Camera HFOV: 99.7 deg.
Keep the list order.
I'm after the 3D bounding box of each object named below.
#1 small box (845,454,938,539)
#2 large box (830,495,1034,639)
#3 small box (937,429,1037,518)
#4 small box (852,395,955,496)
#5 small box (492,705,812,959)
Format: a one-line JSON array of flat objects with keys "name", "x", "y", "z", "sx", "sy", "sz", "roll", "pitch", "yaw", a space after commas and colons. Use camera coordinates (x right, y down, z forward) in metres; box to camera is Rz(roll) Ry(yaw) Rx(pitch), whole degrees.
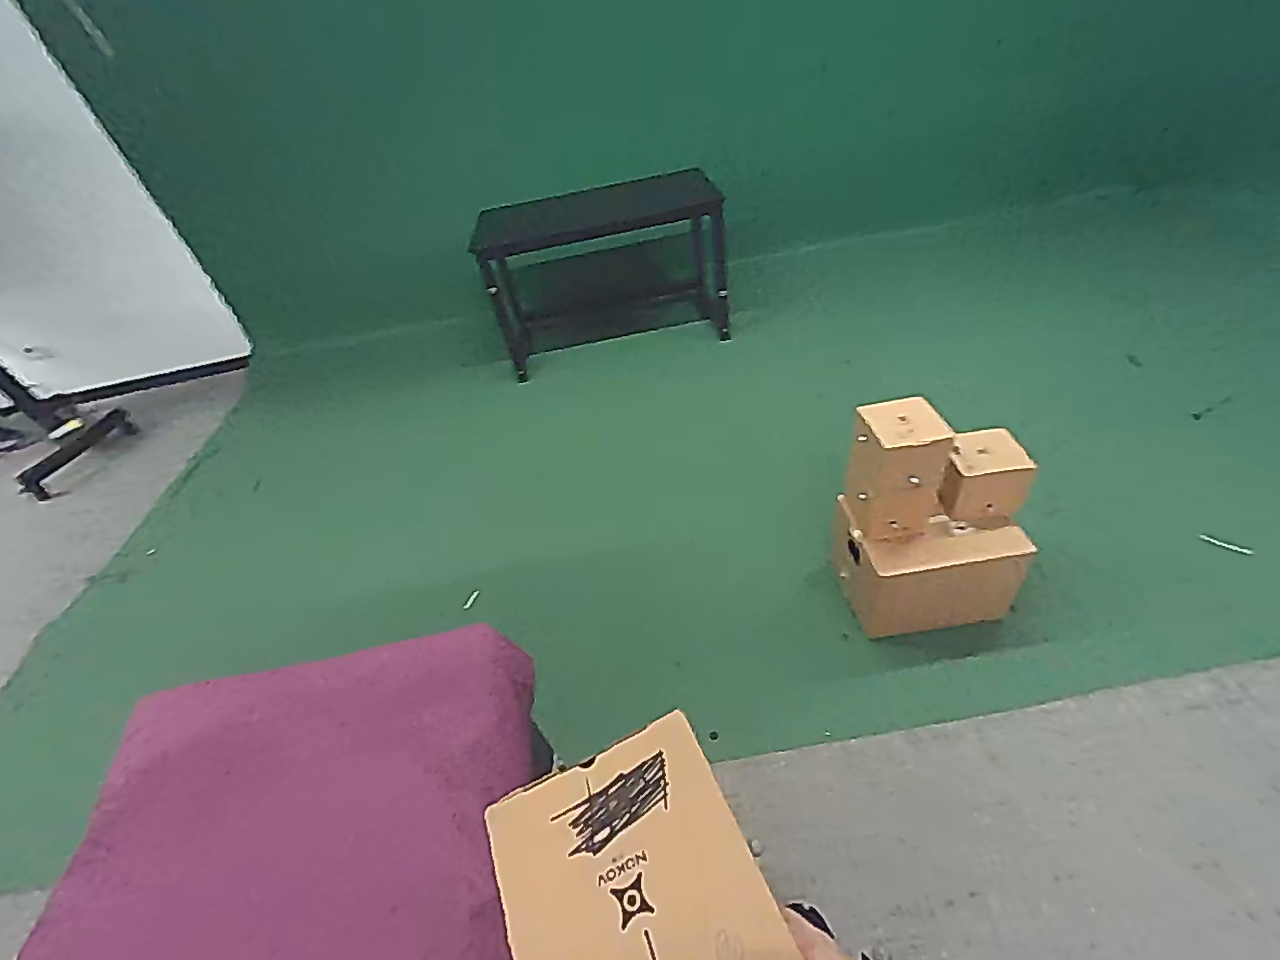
[{"name": "small box", "x": 0.672, "y": 0.034, "z": 1.470, "sx": 0.168, "sy": 0.176, "sz": 0.179, "roll": -10, "pitch": 42, "yaw": 2}, {"name": "large box", "x": 0.818, "y": 0.226, "z": 1.588, "sx": 0.408, "sy": 0.320, "sz": 0.320, "roll": -10, "pitch": 42, "yaw": 2}, {"name": "small box", "x": 0.915, "y": -0.015, "z": 1.462, "sx": 0.179, "sy": 0.176, "sz": 0.168, "roll": -7, "pitch": 41, "yaw": 7}, {"name": "small box", "x": 0.649, "y": -0.085, "z": 1.358, "sx": 0.168, "sy": 0.176, "sz": 0.179, "roll": -11, "pitch": 42, "yaw": 1}, {"name": "small box", "x": 0.009, "y": 0.311, "z": 0.406, "sx": 0.168, "sy": 0.176, "sz": 0.179, "roll": -23, "pitch": 48, "yaw": -8}]
